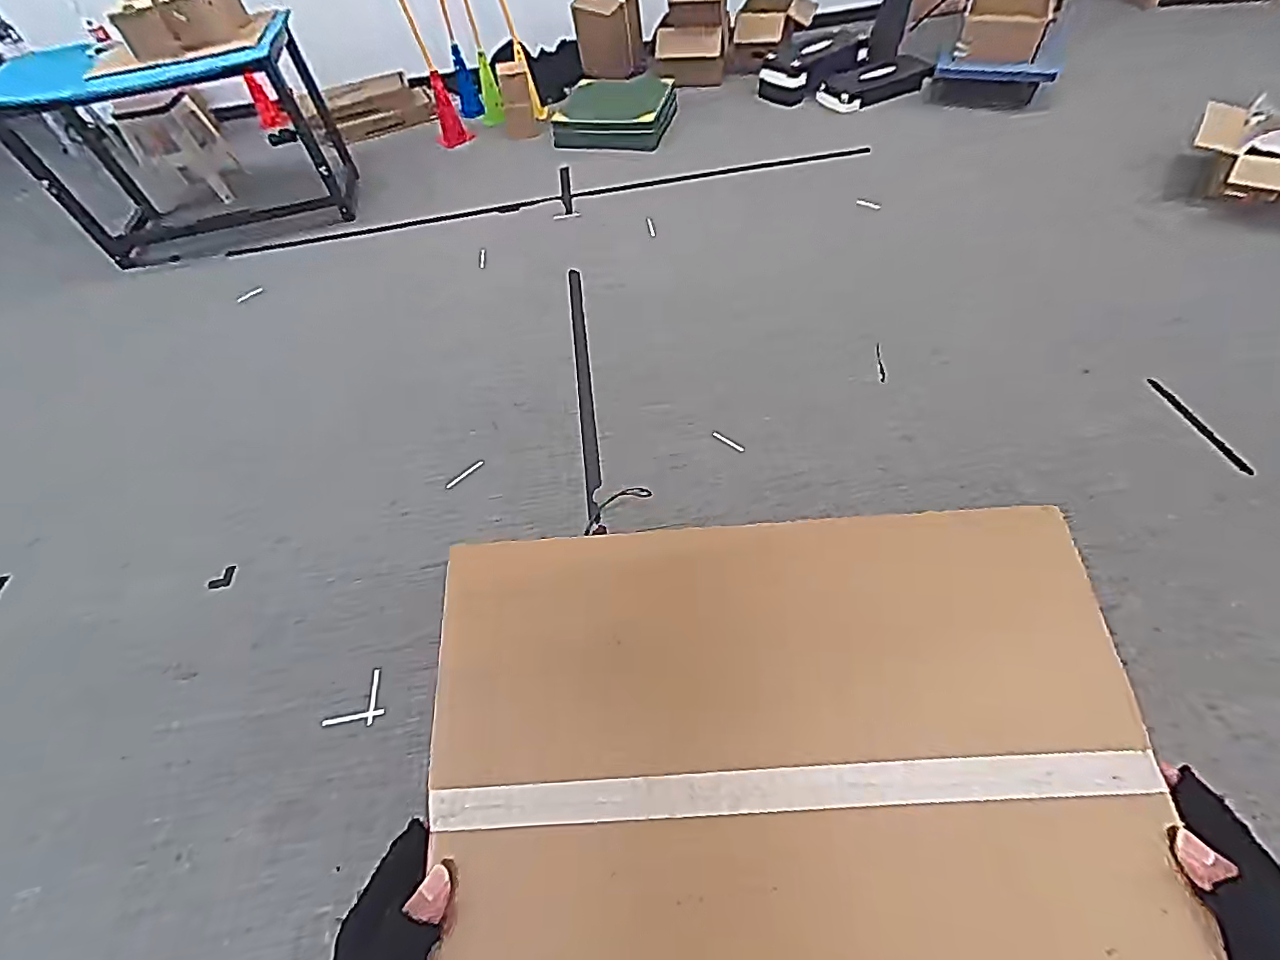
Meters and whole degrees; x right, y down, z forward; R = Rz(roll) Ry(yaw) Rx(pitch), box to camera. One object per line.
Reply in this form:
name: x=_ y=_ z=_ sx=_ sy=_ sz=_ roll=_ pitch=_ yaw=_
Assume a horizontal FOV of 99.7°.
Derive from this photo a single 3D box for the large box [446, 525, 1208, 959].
large box: x=0.095 y=0.244 z=0.449 sx=0.408 sy=0.320 sz=0.320 roll=-4 pitch=69 yaw=2
